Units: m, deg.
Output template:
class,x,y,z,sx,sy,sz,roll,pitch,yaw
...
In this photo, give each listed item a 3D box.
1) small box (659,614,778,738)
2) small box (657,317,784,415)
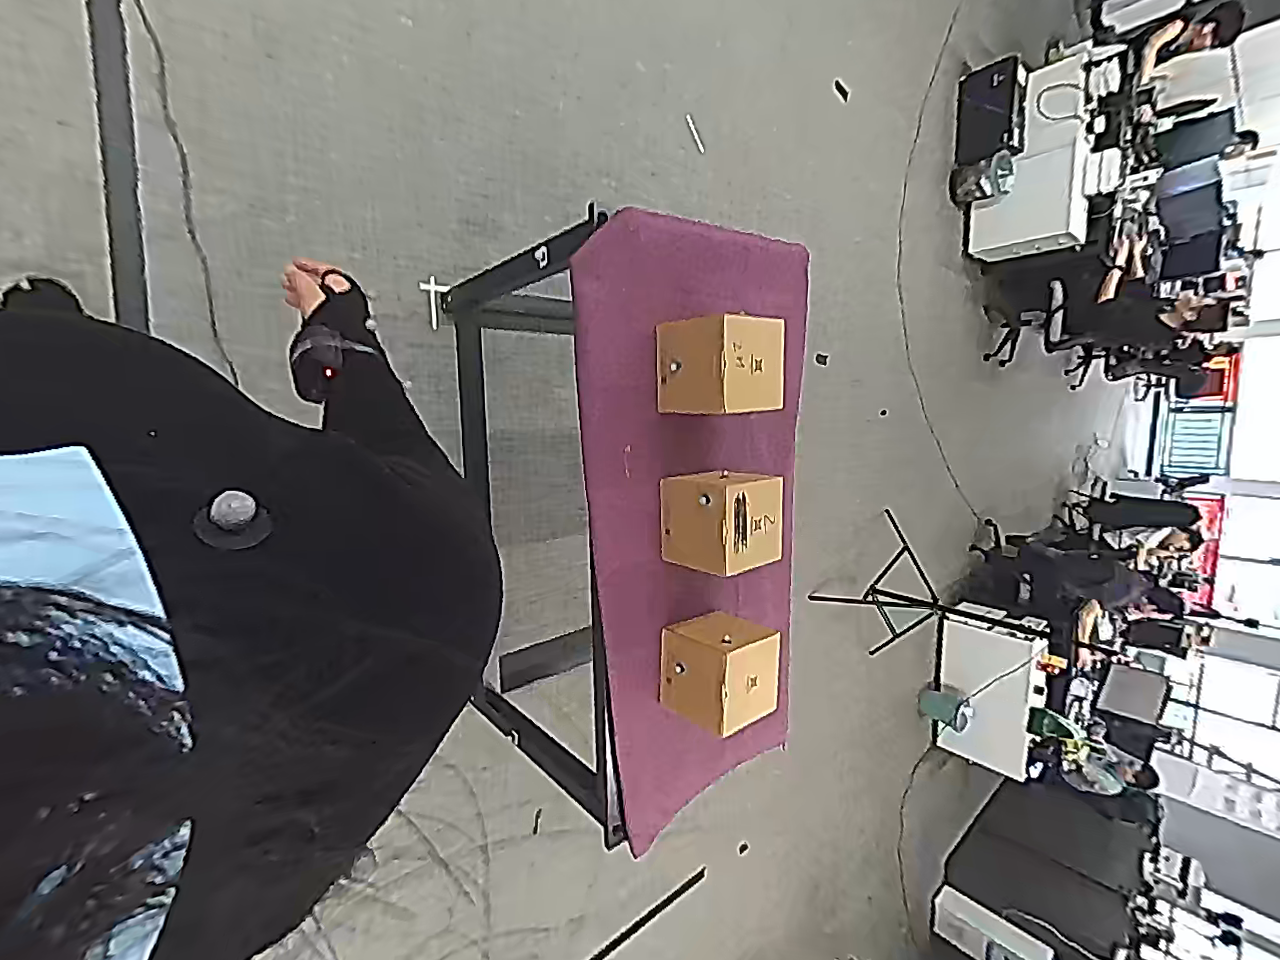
class,x,y,z,sx,sy,sz,roll,pitch,yaw
small box,0.160,0.386,1.105,0.179,0.176,0.168,-3,97,-42
small box,0.151,-0.212,1.024,0.179,0.176,0.168,-10,102,-40
